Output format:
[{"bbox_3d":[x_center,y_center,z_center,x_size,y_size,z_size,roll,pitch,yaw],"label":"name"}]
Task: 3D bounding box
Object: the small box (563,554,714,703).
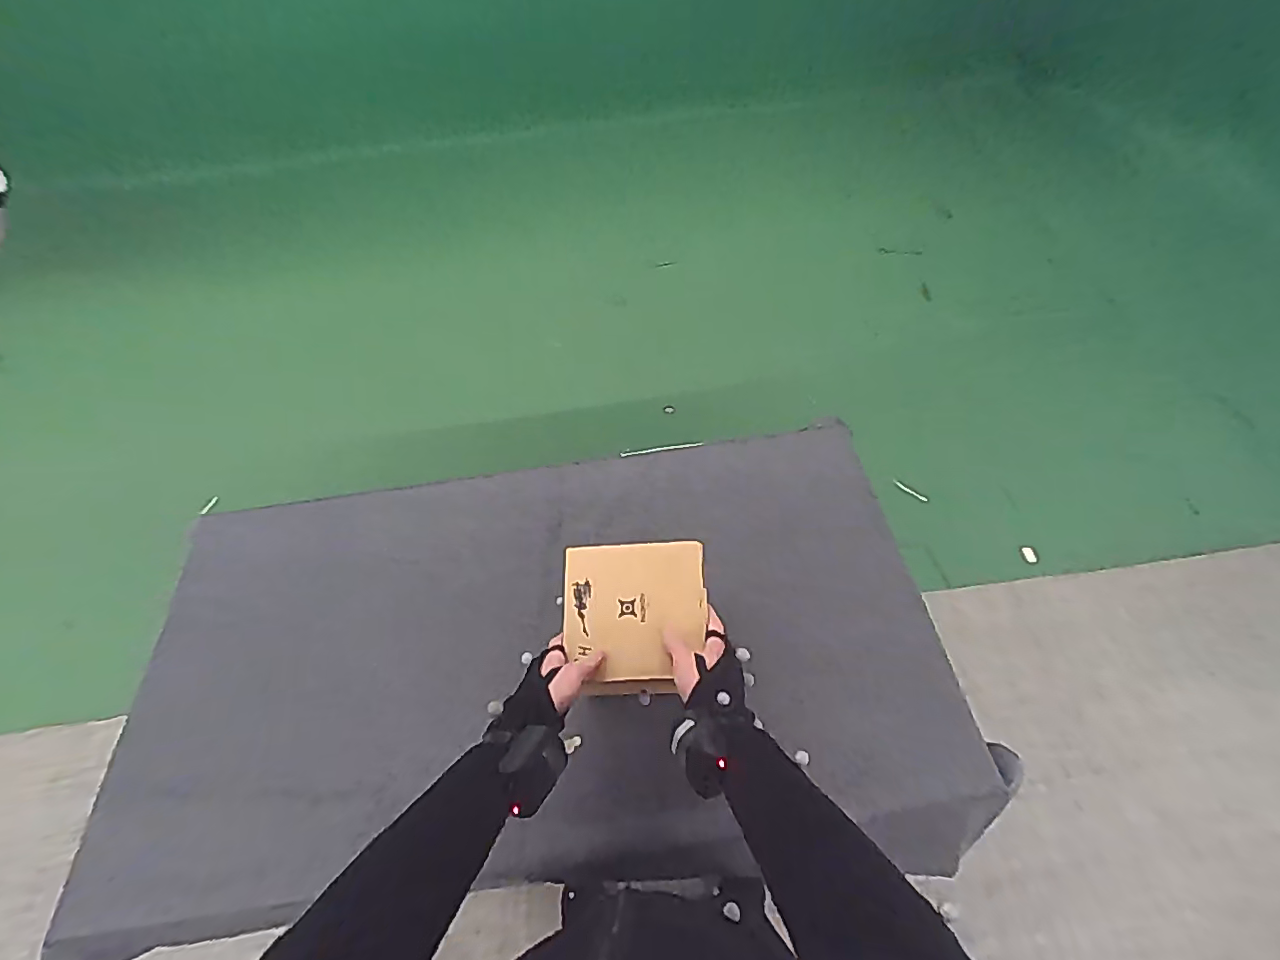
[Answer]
[{"bbox_3d":[0.000,0.204,0.725,0.179,0.176,0.168,-3,63,3],"label":"small box"}]
